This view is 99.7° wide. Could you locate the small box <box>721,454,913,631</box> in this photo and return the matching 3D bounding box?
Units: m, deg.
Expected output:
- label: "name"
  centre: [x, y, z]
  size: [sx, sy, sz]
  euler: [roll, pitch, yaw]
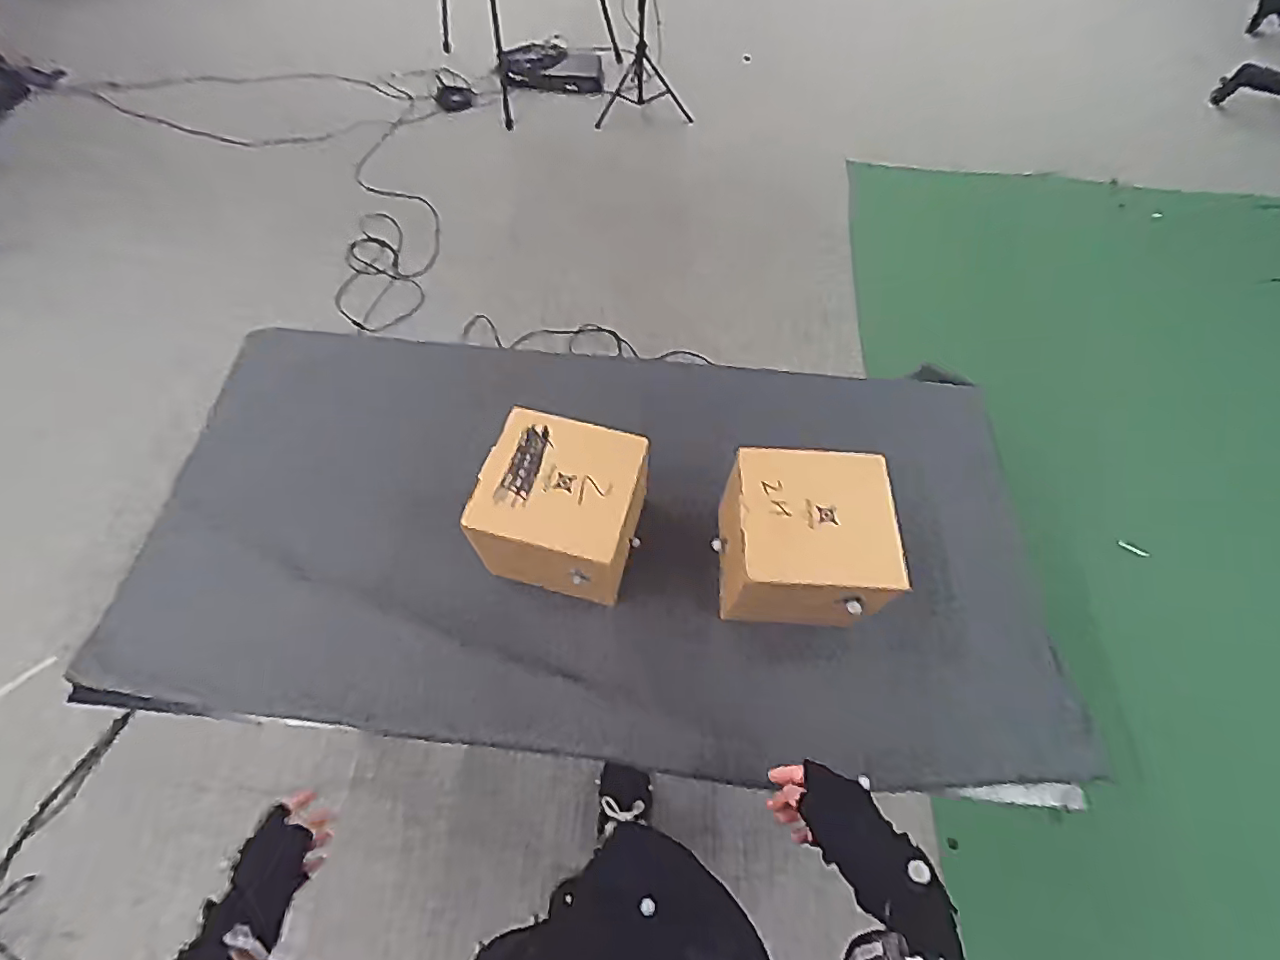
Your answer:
- label: "small box"
  centre: [0.202, 0.084, 0.672]
  size: [0.179, 0.176, 0.168]
  euler: [3, 61, 0]
